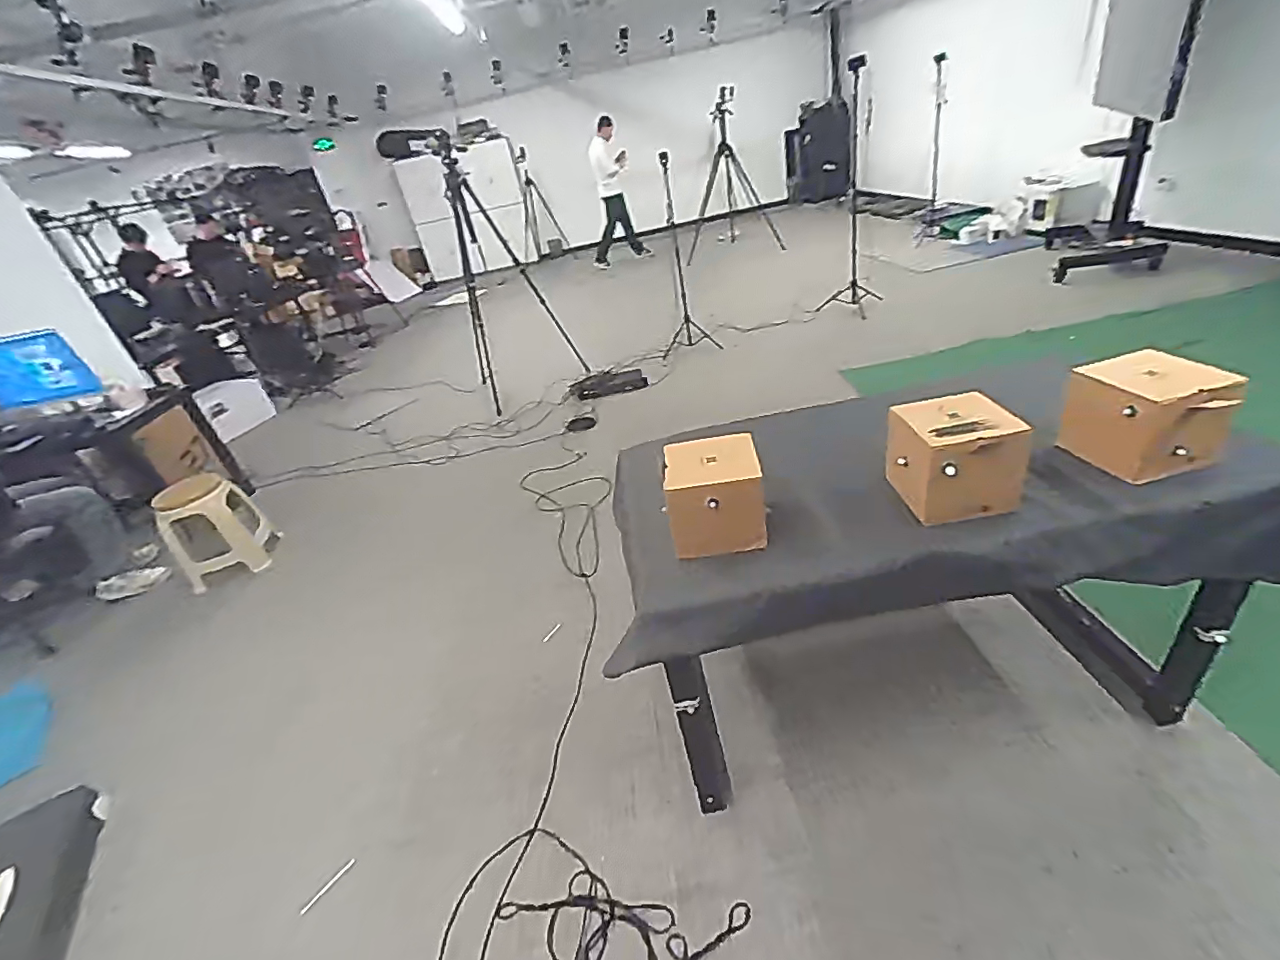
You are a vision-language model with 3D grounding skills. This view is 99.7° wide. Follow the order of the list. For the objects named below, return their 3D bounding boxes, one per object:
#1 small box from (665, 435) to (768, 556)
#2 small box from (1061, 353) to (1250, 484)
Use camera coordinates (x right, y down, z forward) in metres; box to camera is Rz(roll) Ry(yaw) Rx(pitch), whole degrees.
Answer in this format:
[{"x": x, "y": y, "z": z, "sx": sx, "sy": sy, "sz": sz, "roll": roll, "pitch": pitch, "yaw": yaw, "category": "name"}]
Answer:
[{"x": 0.147, "y": 0.033, "z": 1.052, "sx": 0.179, "sy": 0.176, "sz": 0.168, "roll": -7, "pitch": 33, "yaw": 7, "category": "small box"}, {"x": 0.935, "y": -0.116, "z": 1.004, "sx": 0.168, "sy": 0.176, "sz": 0.179, "roll": -15, "pitch": 31, "yaw": -3, "category": "small box"}]
